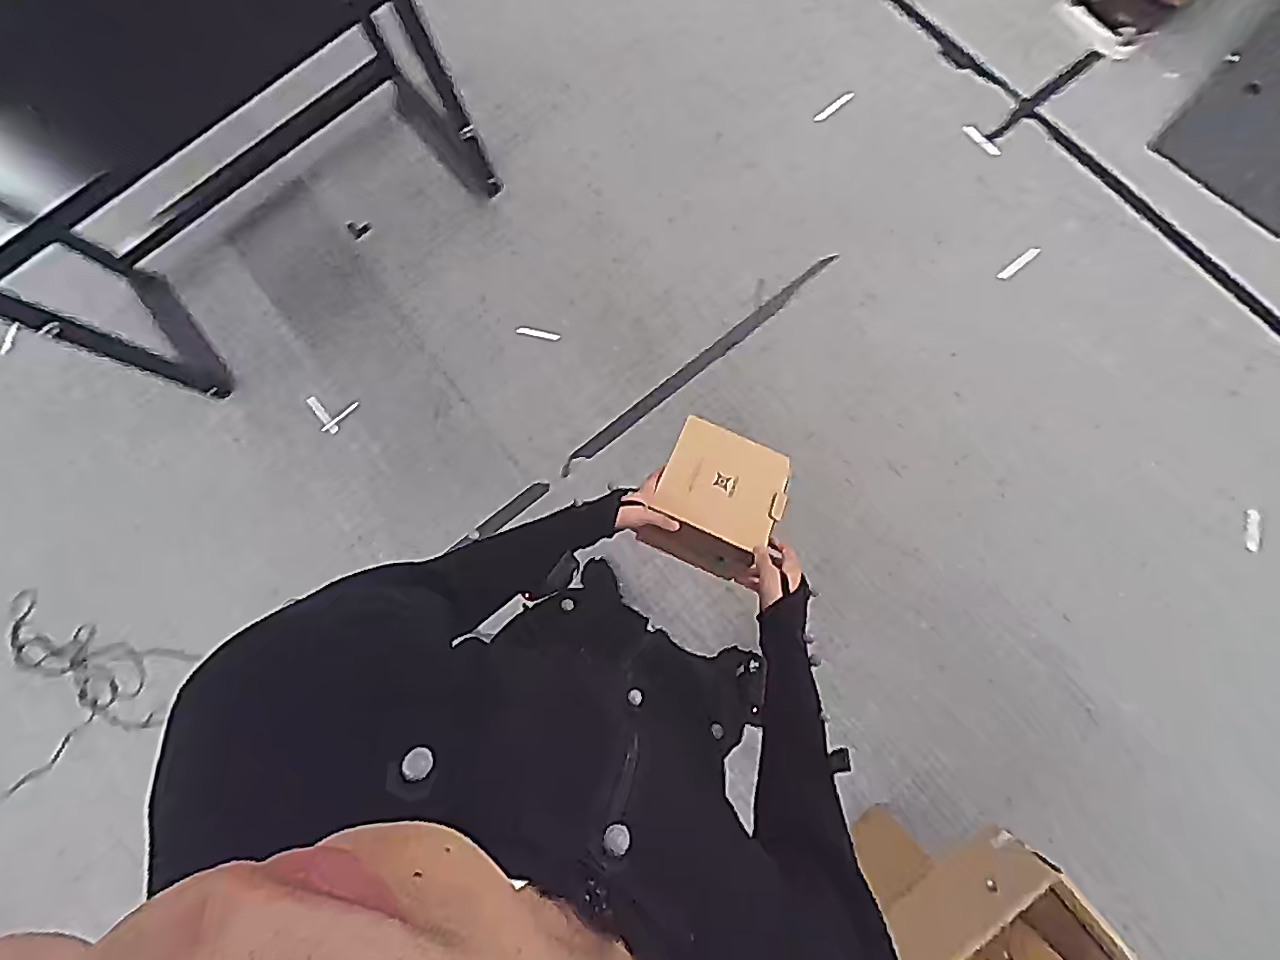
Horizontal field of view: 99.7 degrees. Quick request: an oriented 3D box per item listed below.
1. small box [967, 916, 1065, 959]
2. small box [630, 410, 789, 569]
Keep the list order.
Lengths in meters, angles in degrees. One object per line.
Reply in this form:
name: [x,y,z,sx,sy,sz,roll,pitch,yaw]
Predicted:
small box: [0.748,0.967,0.988,0.179,0.176,0.168,43,86,9]
small box: [0.100,0.026,0.843,0.179,0.176,0.168,24,66,1]
